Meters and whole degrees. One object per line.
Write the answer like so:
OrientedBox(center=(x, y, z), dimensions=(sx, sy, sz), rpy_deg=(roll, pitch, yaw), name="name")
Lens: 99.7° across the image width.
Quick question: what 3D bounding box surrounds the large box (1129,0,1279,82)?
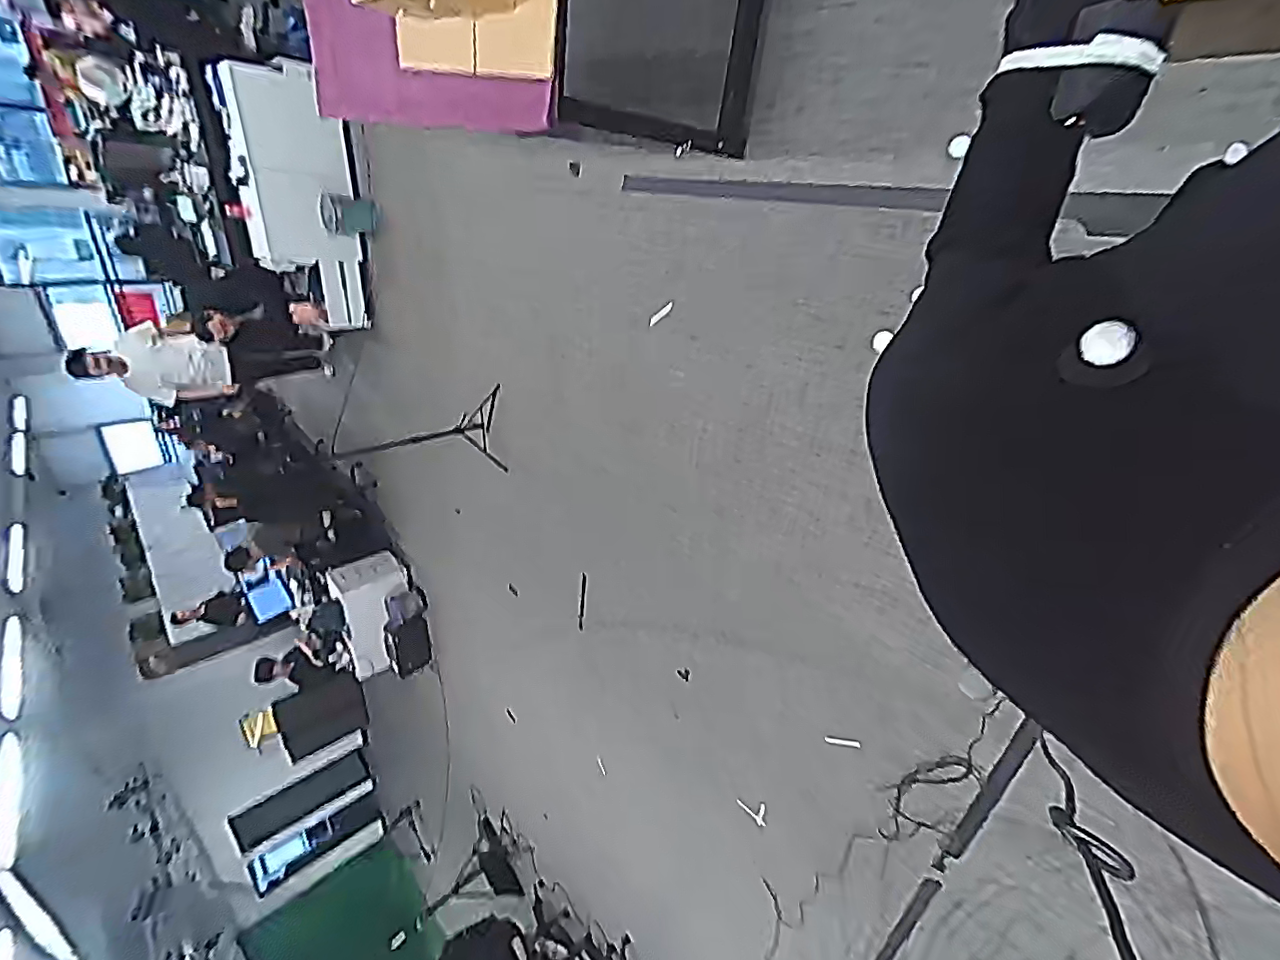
OrientedBox(center=(0.555, -0.424, 0.262), dimensions=(0.408, 0.320, 0.320), rpy_deg=(22, 127, 35), name="large box")
